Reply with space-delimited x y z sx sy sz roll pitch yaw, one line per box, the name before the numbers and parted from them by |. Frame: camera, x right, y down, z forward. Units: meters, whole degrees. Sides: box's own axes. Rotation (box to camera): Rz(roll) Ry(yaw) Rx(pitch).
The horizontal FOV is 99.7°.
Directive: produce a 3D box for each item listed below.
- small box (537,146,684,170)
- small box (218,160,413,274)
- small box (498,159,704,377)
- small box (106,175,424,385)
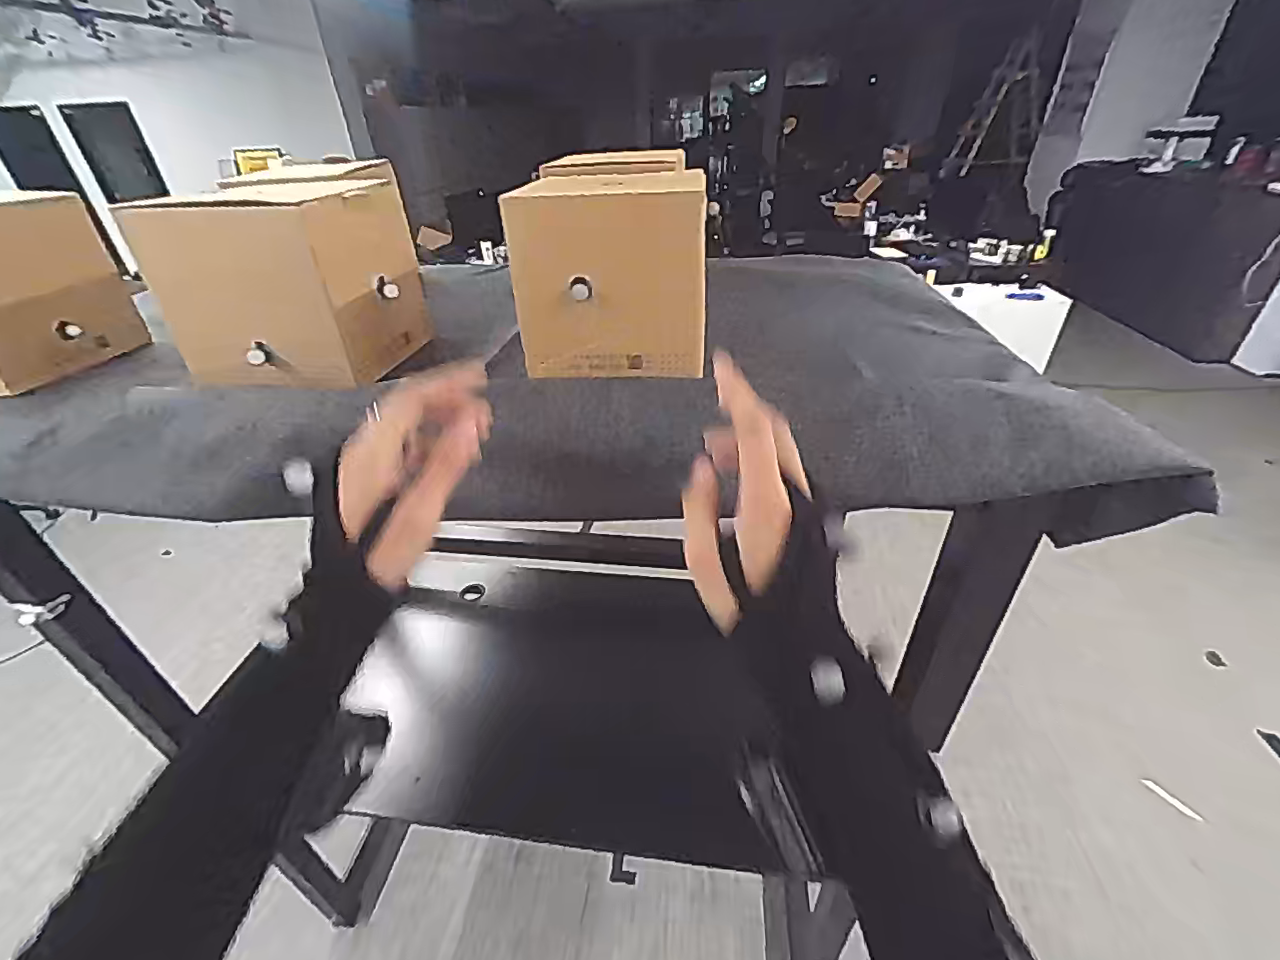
small box | -0.029 -0.370 0.770 0.179 0.176 0.168 2 35 7
small box | -0.461 -0.373 0.807 0.168 0.176 0.179 -3 34 2
small box | -0.021 -0.208 0.532 0.168 0.176 0.179 1 33 6
small box | -0.345 -0.203 0.546 0.179 0.176 0.168 2 33 6
